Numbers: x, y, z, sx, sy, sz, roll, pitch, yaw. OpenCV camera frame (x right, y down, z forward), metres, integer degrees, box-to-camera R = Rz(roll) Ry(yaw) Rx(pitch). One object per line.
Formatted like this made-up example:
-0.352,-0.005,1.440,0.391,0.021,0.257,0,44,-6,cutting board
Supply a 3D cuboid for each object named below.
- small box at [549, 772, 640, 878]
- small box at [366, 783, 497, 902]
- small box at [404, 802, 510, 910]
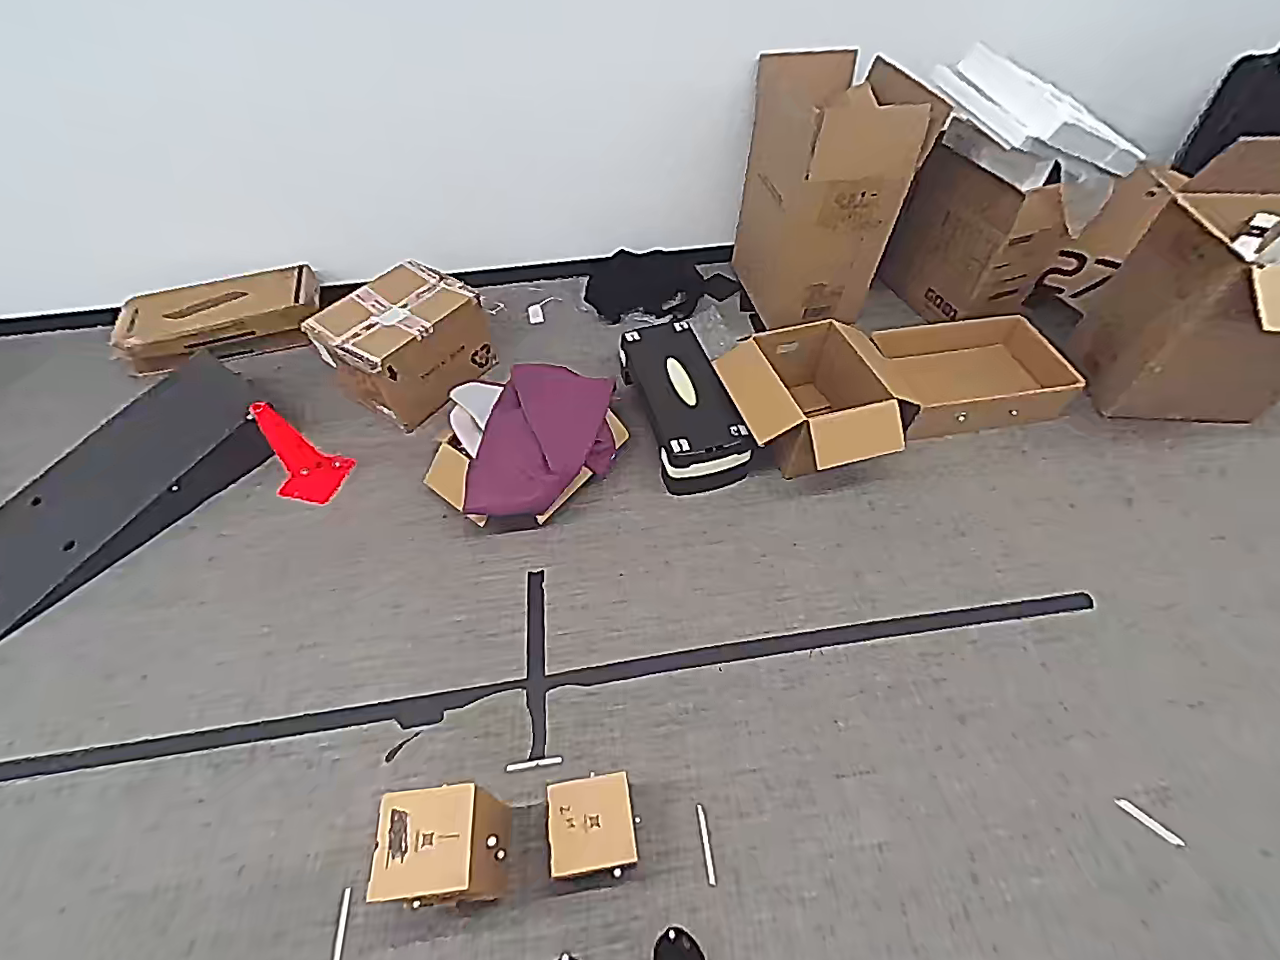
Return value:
-0.097,0.753,1.180,0.179,0.176,0.168,-8,53,-4,small box
-0.384,0.690,1.027,0.179,0.176,0.168,-5,53,-3,small box
-0.380,0.796,1.156,0.168,0.176,0.179,-6,54,-2,small box
